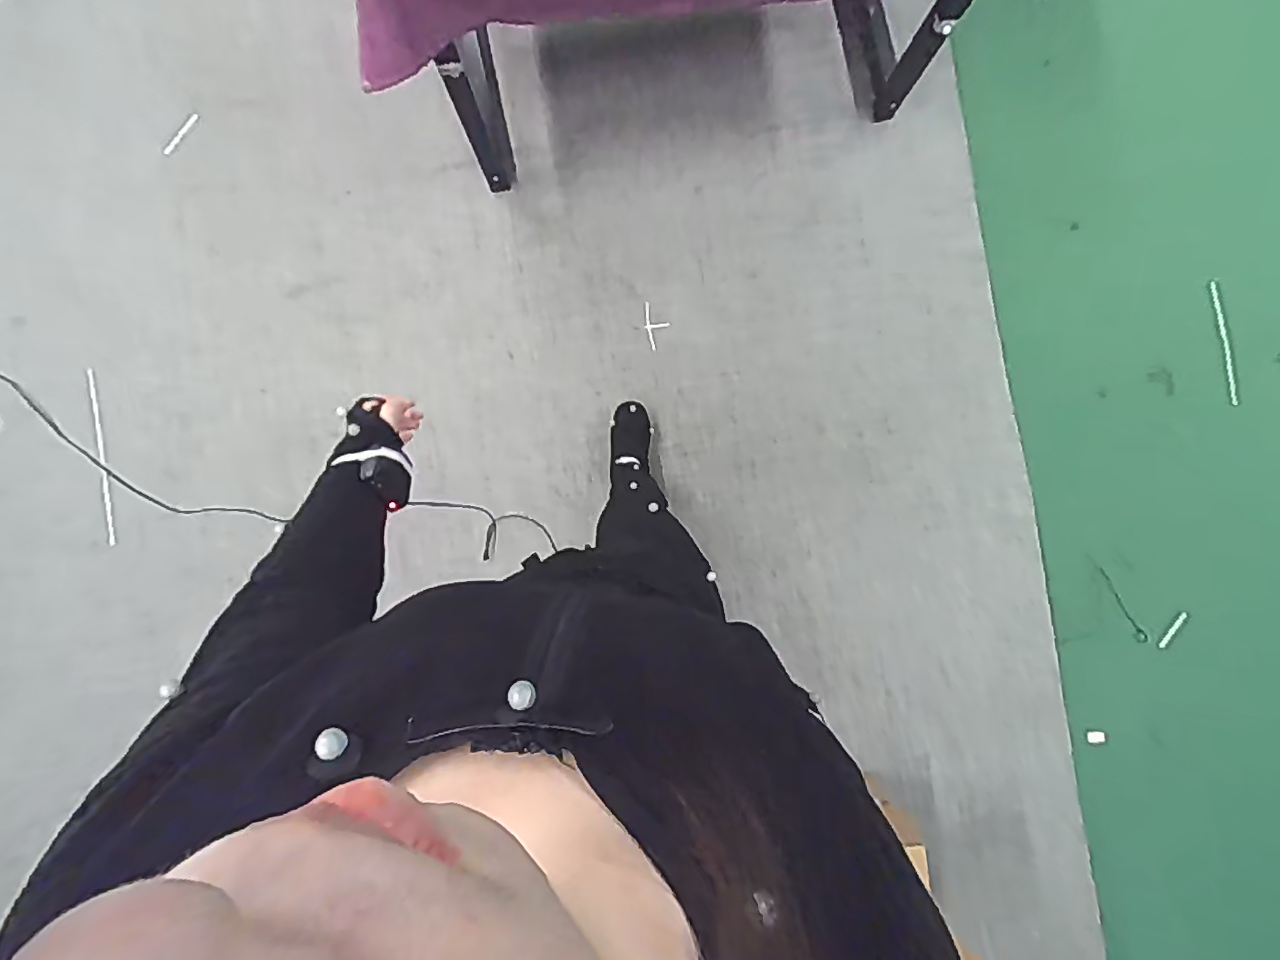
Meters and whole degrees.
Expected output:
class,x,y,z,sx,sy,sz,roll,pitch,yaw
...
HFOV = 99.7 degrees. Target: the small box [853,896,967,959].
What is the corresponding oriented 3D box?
class,x,y,z,sx,sy,sz,roll,pitch,yaw
small box,0.546,0.994,1.095,0.168,0.176,0.179,-2,90,-3
